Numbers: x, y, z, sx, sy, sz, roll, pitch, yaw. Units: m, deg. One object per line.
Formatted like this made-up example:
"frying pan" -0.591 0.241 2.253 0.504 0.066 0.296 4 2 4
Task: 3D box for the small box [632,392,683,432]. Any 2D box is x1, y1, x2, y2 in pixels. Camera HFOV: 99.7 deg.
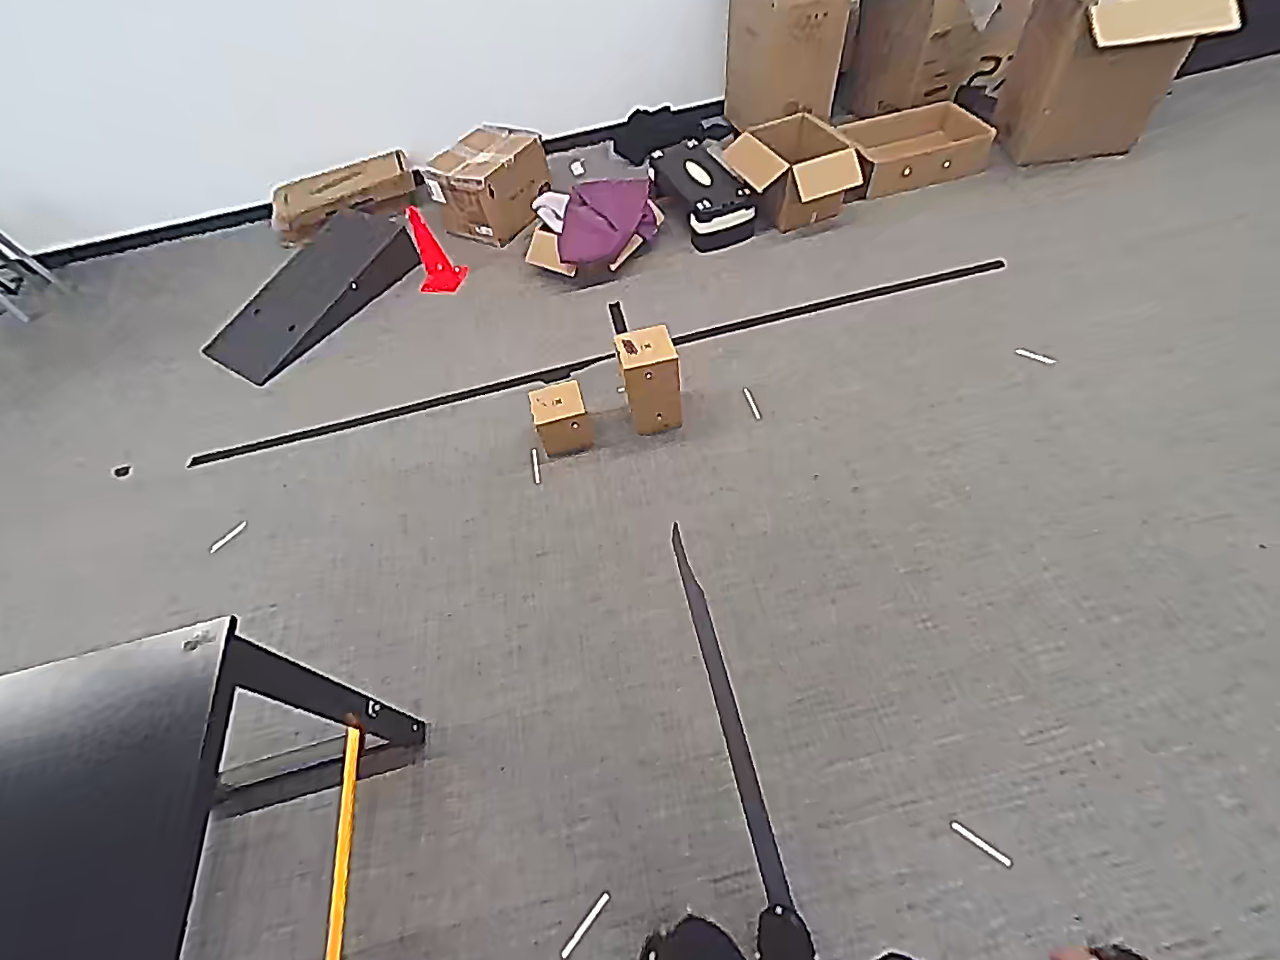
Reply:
"small box" 0.052 -0.288 1.900 0.168 0.176 0.179 -12 55 -1

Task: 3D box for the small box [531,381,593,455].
"small box" -0.268 -0.214 1.891 0.179 0.176 0.168 -16 54 -2

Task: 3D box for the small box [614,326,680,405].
"small box" 0.027 -0.368 1.756 0.179 0.176 0.168 -14 55 -3
